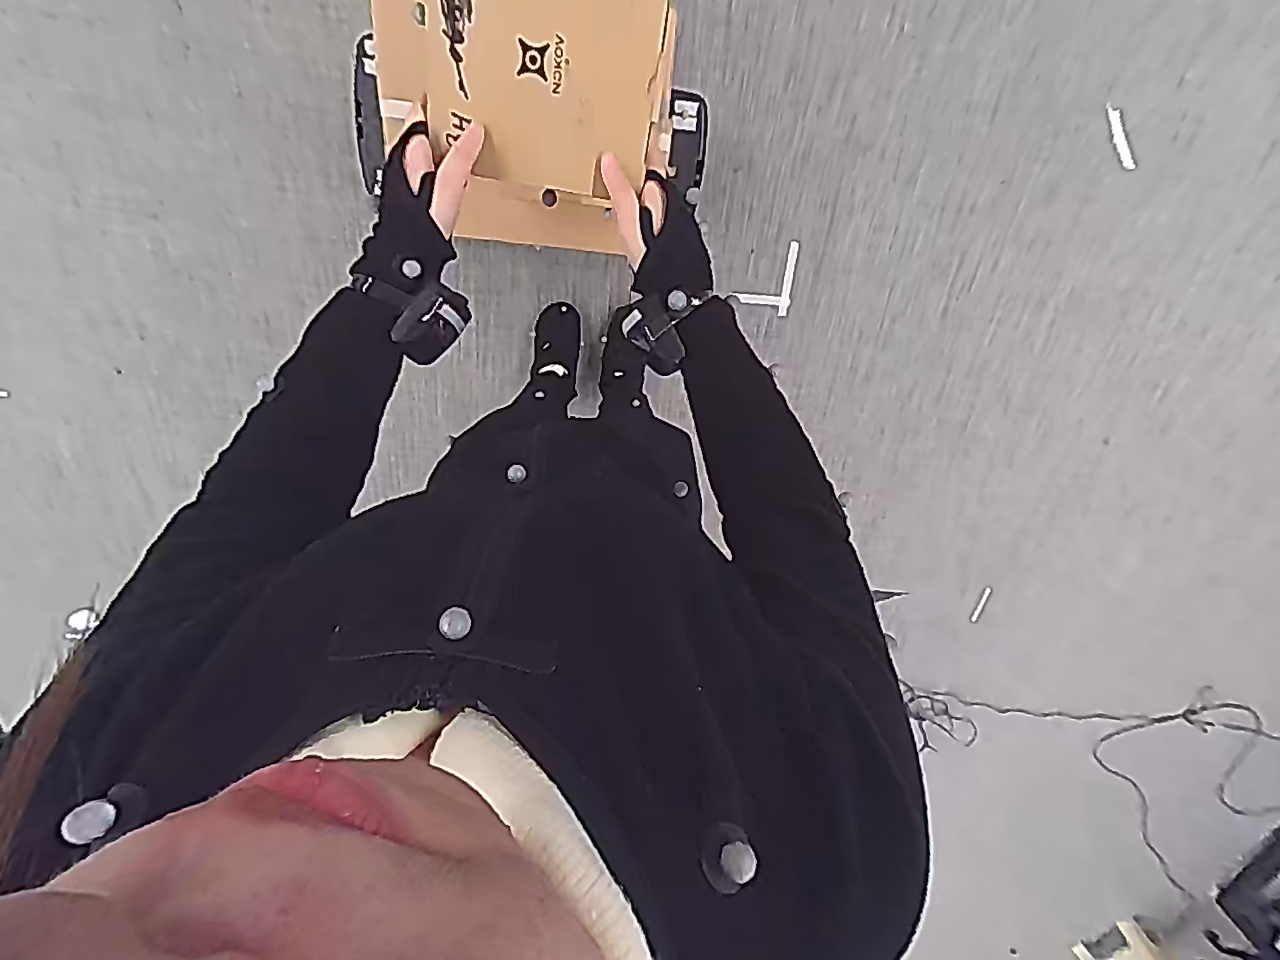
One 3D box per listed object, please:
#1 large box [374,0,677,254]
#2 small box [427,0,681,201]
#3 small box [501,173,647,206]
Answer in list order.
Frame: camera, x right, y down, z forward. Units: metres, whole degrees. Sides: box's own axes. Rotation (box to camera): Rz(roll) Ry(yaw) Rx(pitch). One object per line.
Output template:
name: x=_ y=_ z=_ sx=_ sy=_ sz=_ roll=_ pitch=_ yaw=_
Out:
large box: x=-0.161 y=-0.570 z=0.898 sx=0.408 sy=0.320 sz=0.320 roll=5 pitch=115 yaw=-4
small box: x=-0.071 y=-0.348 z=0.463 sx=0.179 sy=0.176 sz=0.168 roll=7 pitch=117 yaw=-8
small box: x=-0.075 y=-0.449 z=0.687 sx=0.179 sy=0.176 sz=0.168 roll=4 pitch=116 yaw=-3
